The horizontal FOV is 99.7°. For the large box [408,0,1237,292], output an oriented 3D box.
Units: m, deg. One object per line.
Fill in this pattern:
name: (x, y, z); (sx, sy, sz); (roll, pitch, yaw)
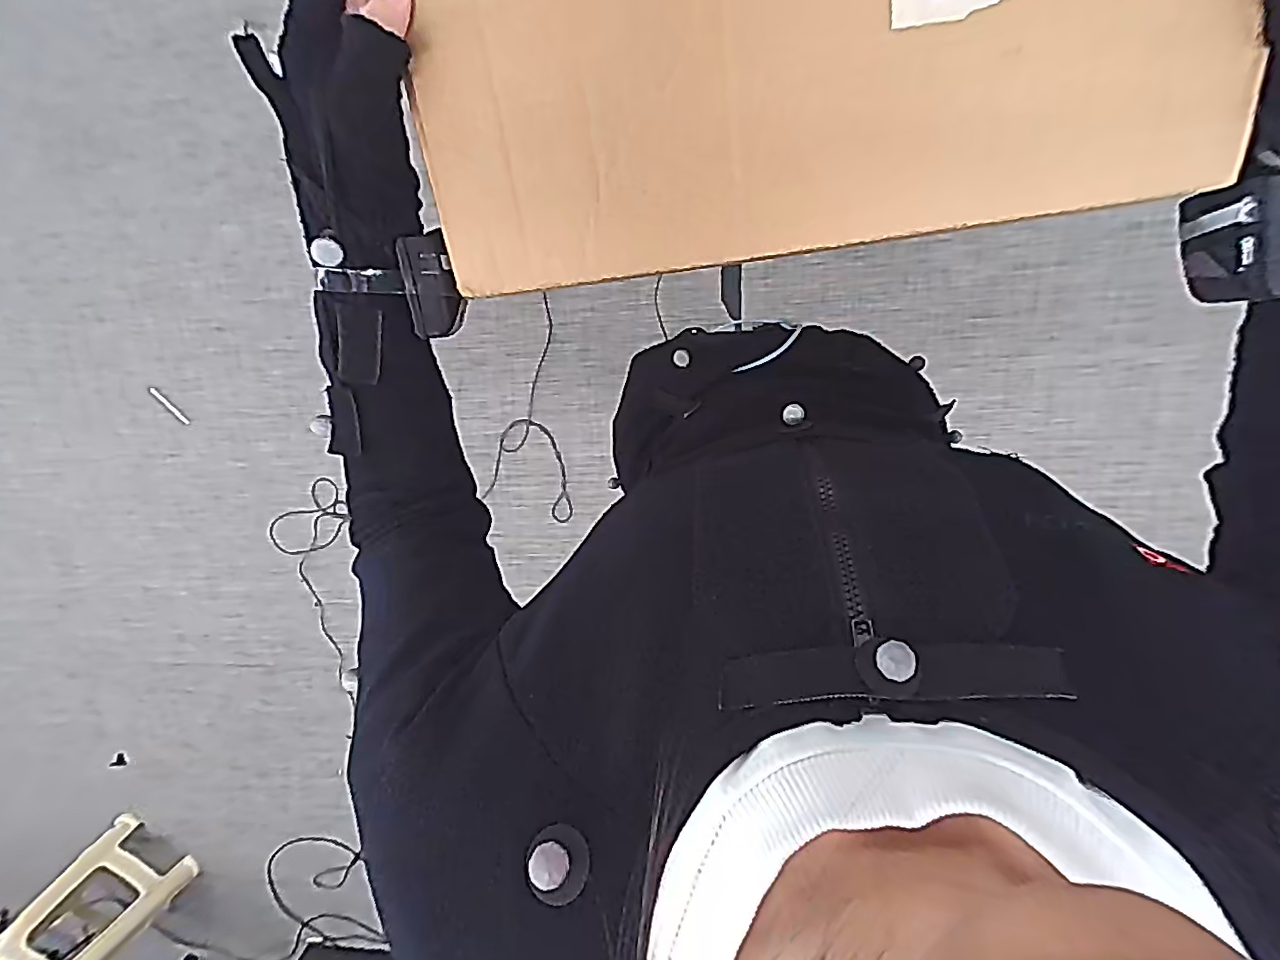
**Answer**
large box: (0.084, -0.333, 0.391); (0.408, 0.320, 0.320); (-6, 112, 8)
